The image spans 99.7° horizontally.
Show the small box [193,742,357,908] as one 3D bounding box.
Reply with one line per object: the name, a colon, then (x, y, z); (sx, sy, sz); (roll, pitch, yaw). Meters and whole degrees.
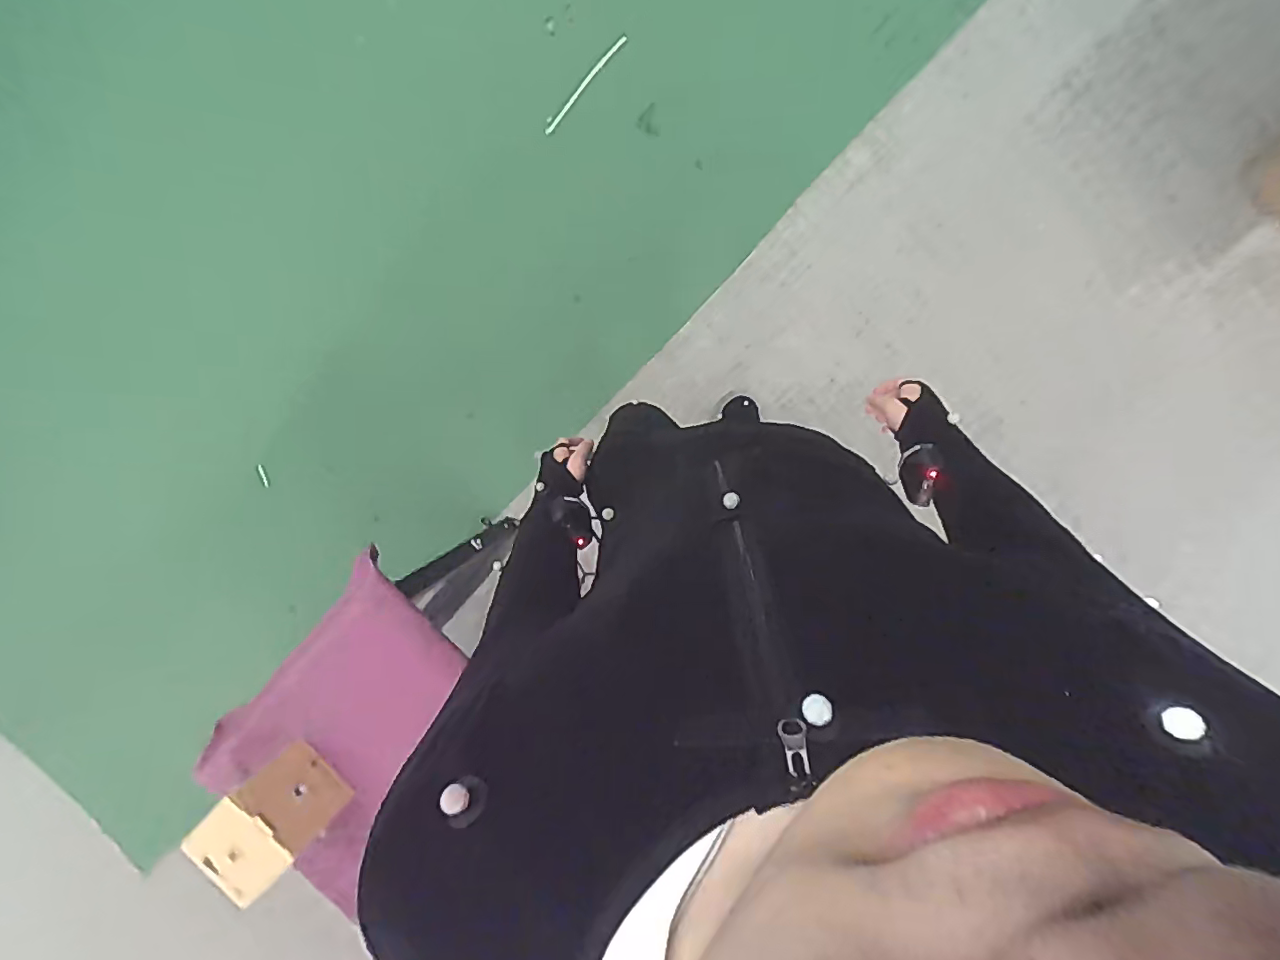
small box: (-0.689, 0.654, 1.047); (0.168, 0.176, 0.179); (45, 103, 1)
